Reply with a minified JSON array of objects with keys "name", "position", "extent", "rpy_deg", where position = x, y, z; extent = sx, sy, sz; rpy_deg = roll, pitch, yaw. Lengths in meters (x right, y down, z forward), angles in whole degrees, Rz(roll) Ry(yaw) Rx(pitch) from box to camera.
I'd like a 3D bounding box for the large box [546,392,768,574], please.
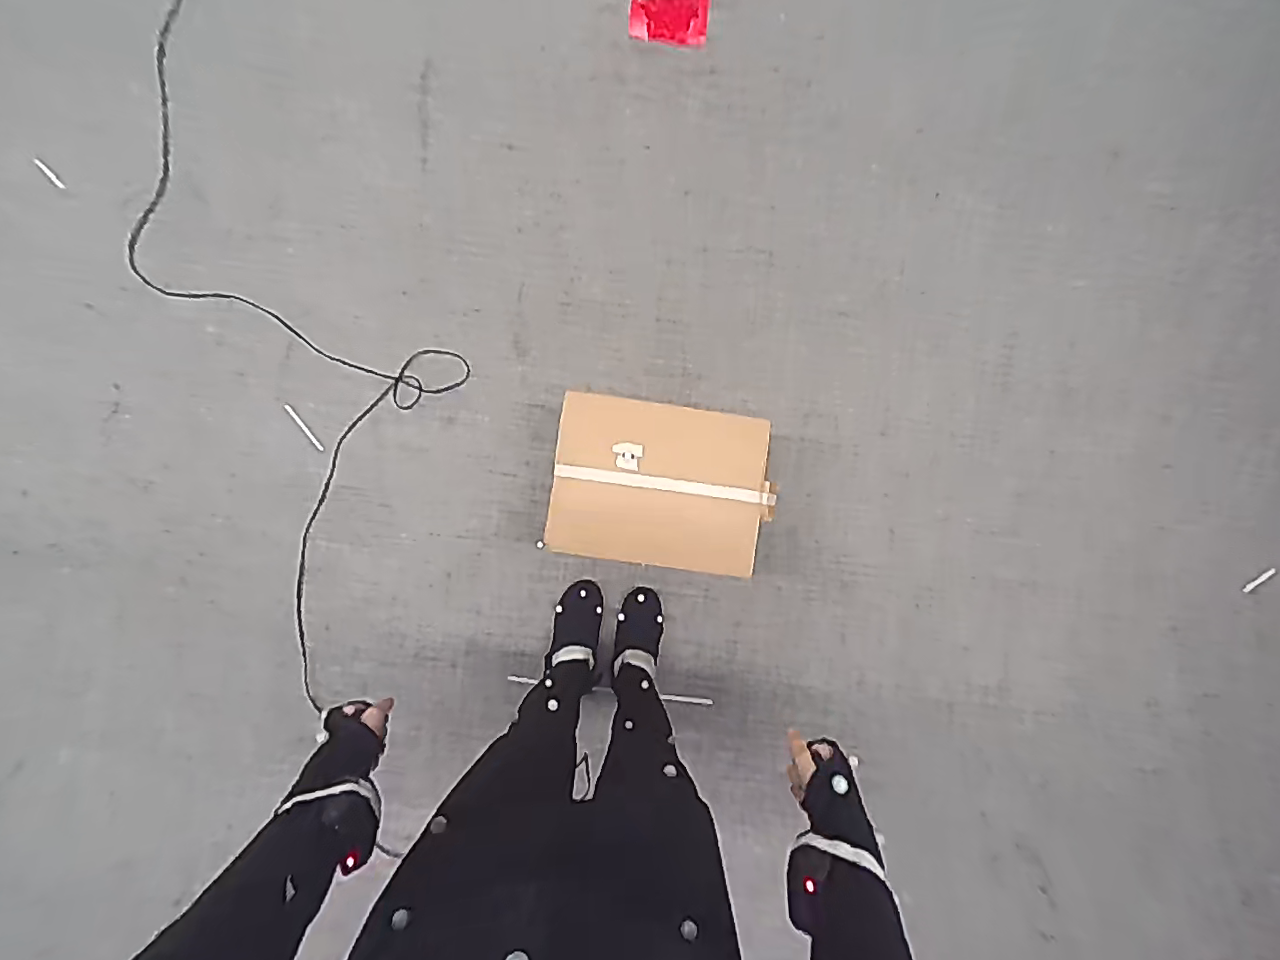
[{"name":"large box","position":[0.034,0.010,1.192],"extent":[0.408,0.320,0.320],"rpy_deg":[9,87,-1]}]
